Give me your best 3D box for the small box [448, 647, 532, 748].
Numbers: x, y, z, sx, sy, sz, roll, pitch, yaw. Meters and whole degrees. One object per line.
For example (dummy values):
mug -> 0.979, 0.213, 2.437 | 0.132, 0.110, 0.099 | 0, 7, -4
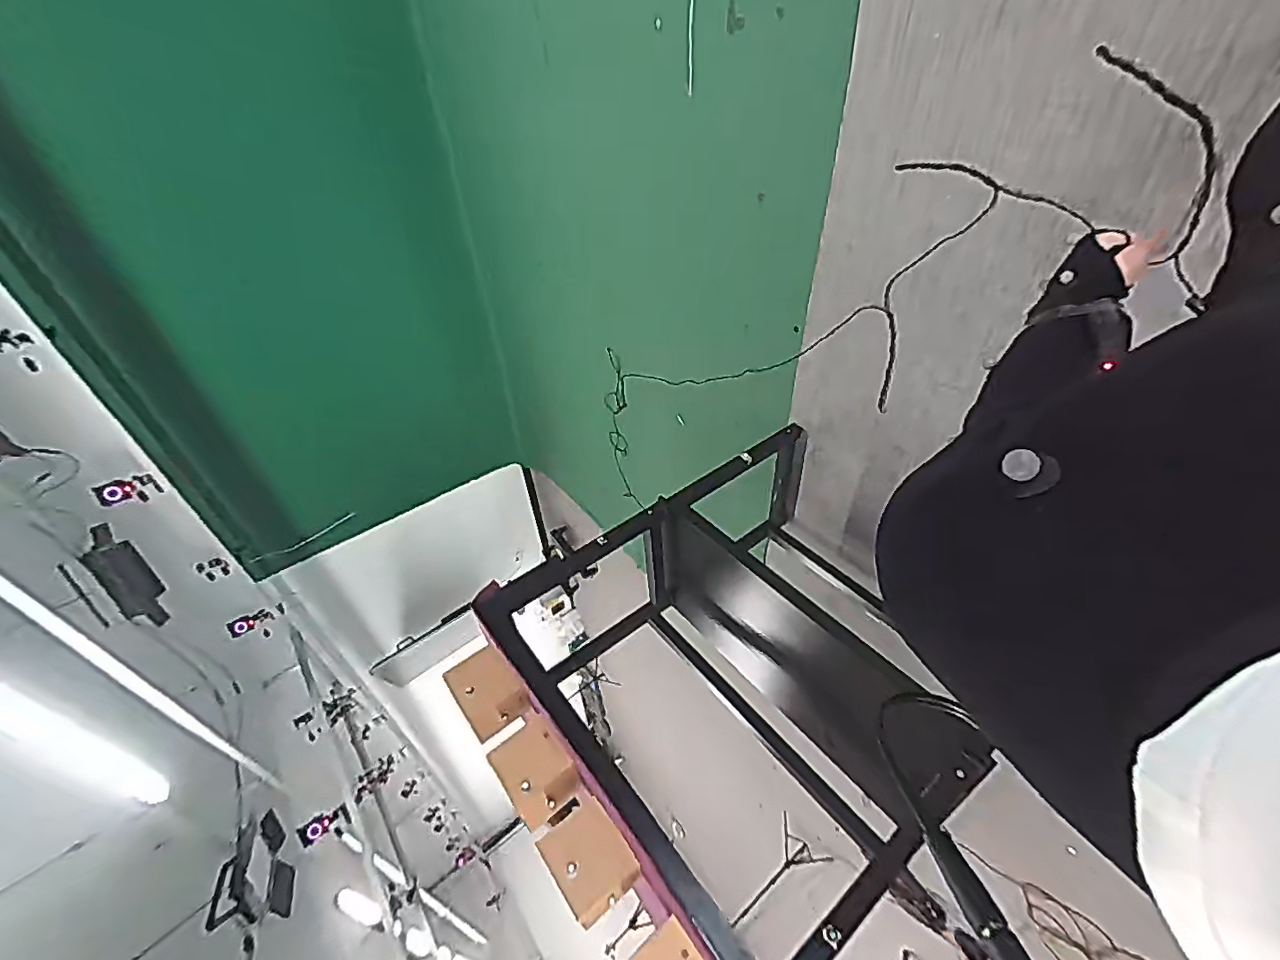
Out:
small box -> -0.422, 0.622, 1.557 | 0.179, 0.176, 0.168 | 41, 147, 35

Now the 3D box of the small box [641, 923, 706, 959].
small box -> 0.068, 1.018, 1.063 | 0.168, 0.176, 0.179 | 42, 150, 35
